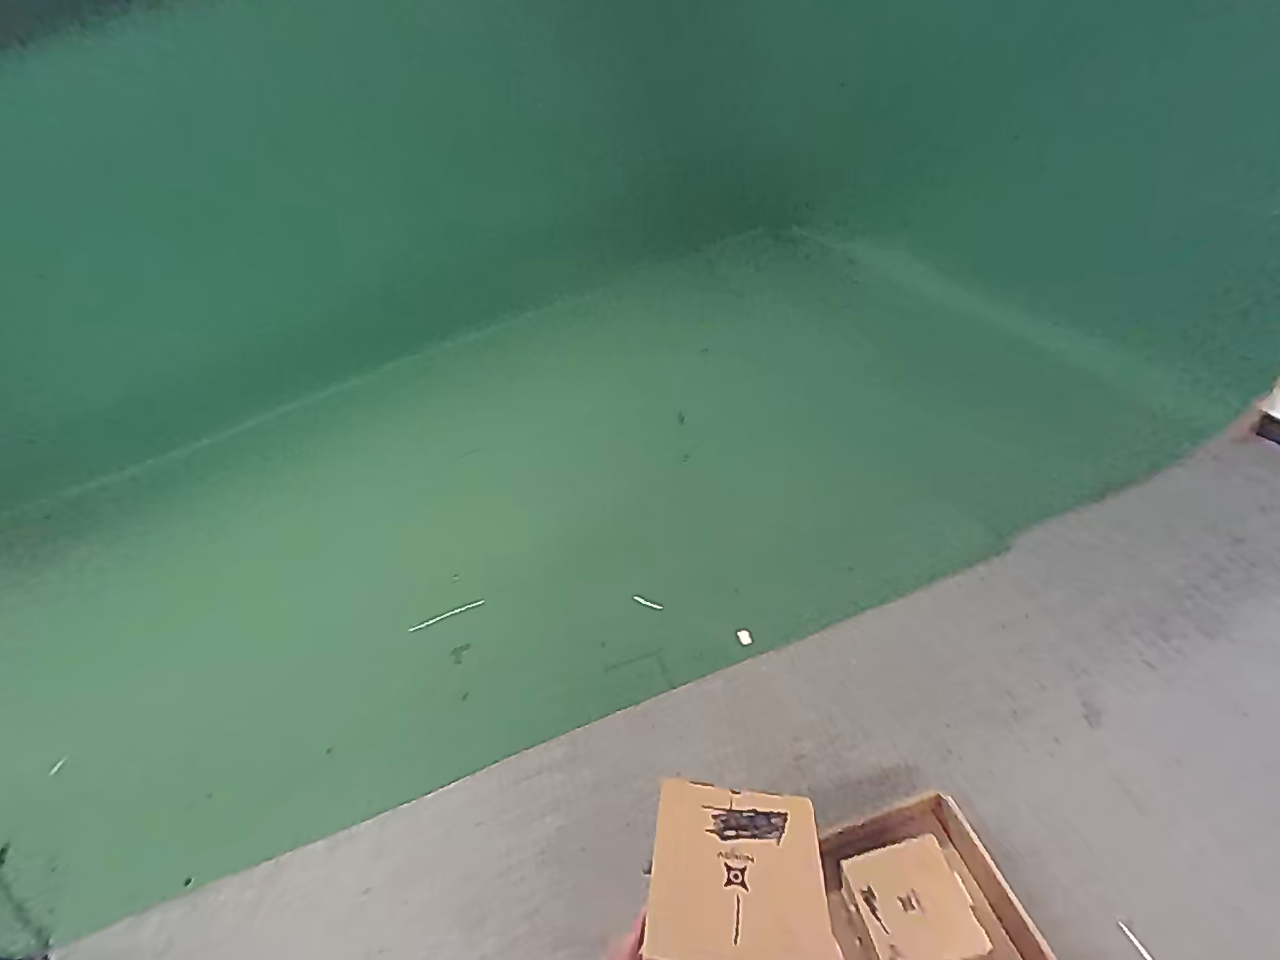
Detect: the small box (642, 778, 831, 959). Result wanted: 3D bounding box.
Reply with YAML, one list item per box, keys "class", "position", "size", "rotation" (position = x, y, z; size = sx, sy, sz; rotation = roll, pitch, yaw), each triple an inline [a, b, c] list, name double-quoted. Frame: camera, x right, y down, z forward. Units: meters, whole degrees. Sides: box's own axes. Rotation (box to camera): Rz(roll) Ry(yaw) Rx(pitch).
- class: "small box"
  position: [0.092, 0.454, 0.564]
  size: [0.168, 0.176, 0.179]
  rotation: [2, 23, 7]

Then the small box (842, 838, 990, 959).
- class: "small box"
  position: [0.480, 0.780, 0.975]
  size: [0.179, 0.176, 0.168]
  rotation: [-17, 42, 1]
